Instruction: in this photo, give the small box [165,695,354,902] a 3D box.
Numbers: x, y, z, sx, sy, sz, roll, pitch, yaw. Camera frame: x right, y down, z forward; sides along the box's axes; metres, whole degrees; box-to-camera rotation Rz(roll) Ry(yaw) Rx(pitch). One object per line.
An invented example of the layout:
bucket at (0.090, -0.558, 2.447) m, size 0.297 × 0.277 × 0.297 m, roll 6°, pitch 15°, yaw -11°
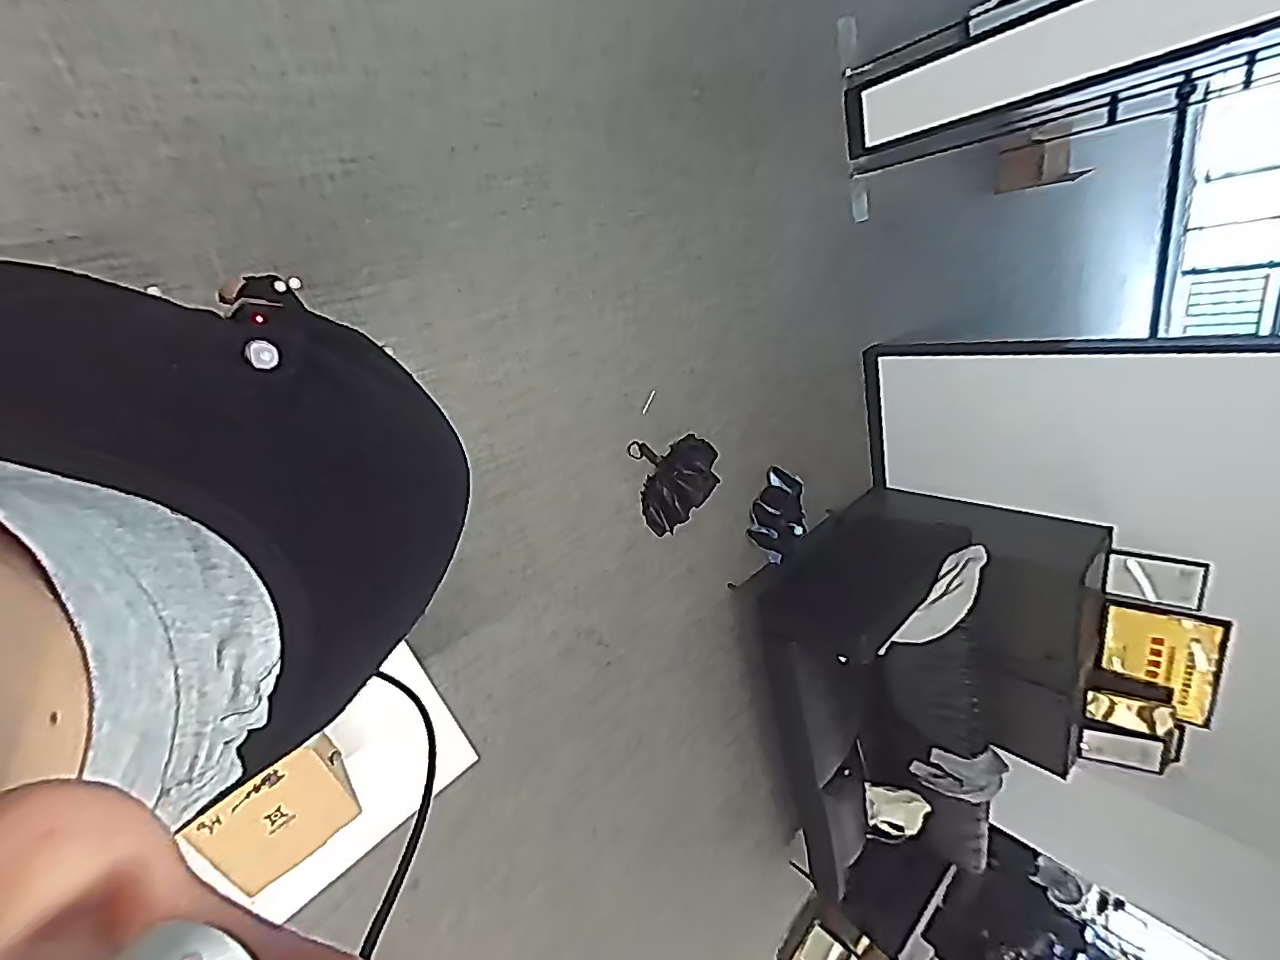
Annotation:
small box at (-0.572, 0.467, 0.820) m, size 0.168 × 0.176 × 0.179 m, roll -33°, pitch 121°, yaw -31°
